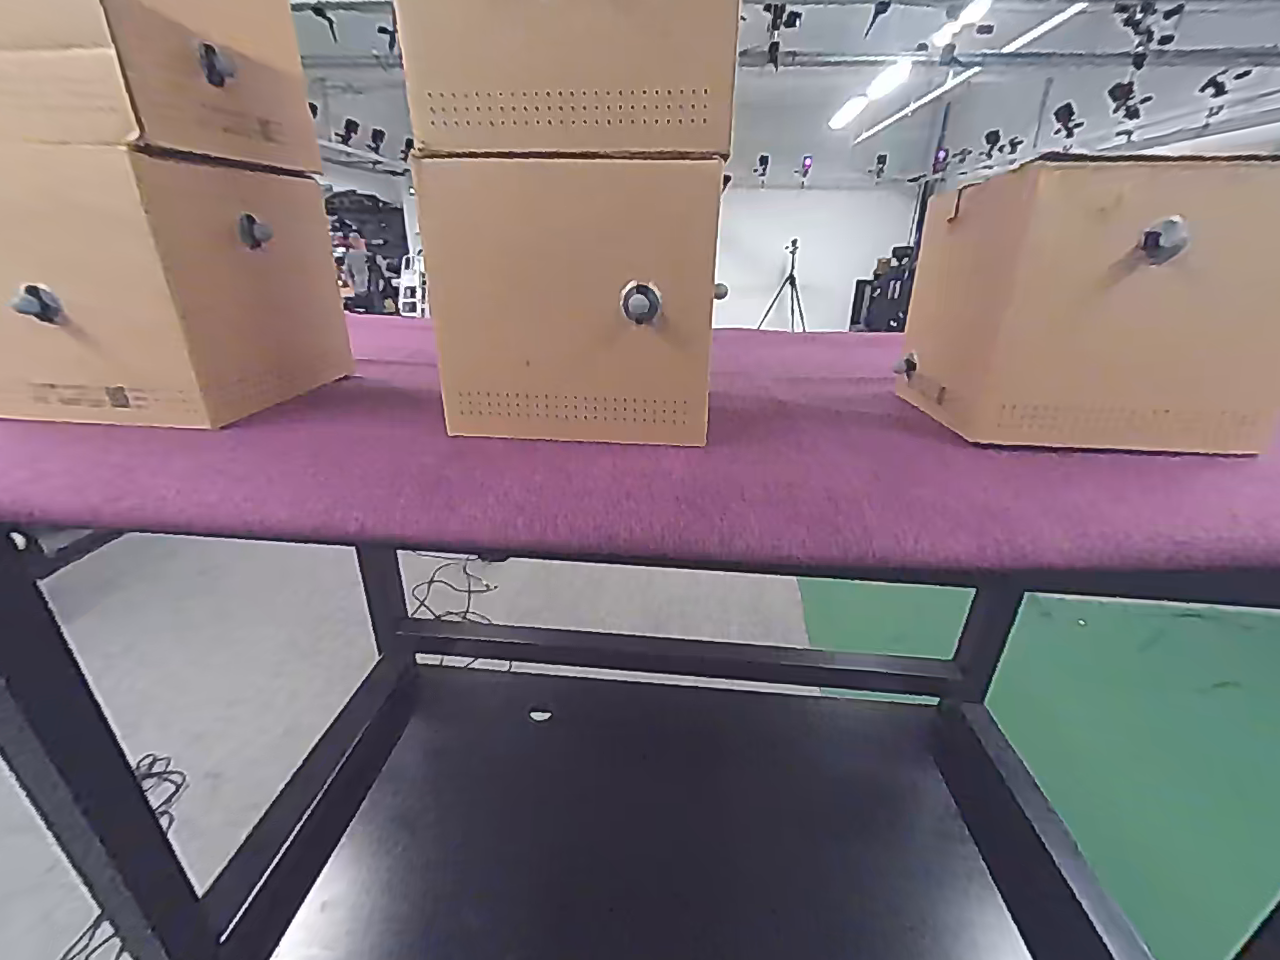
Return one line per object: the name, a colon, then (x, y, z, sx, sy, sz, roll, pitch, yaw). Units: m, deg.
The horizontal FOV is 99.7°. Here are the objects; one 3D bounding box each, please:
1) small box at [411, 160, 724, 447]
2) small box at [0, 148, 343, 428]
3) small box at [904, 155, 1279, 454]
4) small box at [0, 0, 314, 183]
small box: (-0.037, -0.128, 0.399, 0.179, 0.176, 0.168, 2, 23, 3)
small box: (-0.358, -0.145, 0.412, 0.168, 0.176, 0.179, 4, 24, 3)
small box: (0.312, -0.122, 0.395, 0.179, 0.176, 0.168, 3, 22, 5)
small box: (-0.352, -0.293, 0.345, 0.179, 0.176, 0.168, 3, 25, 2)
